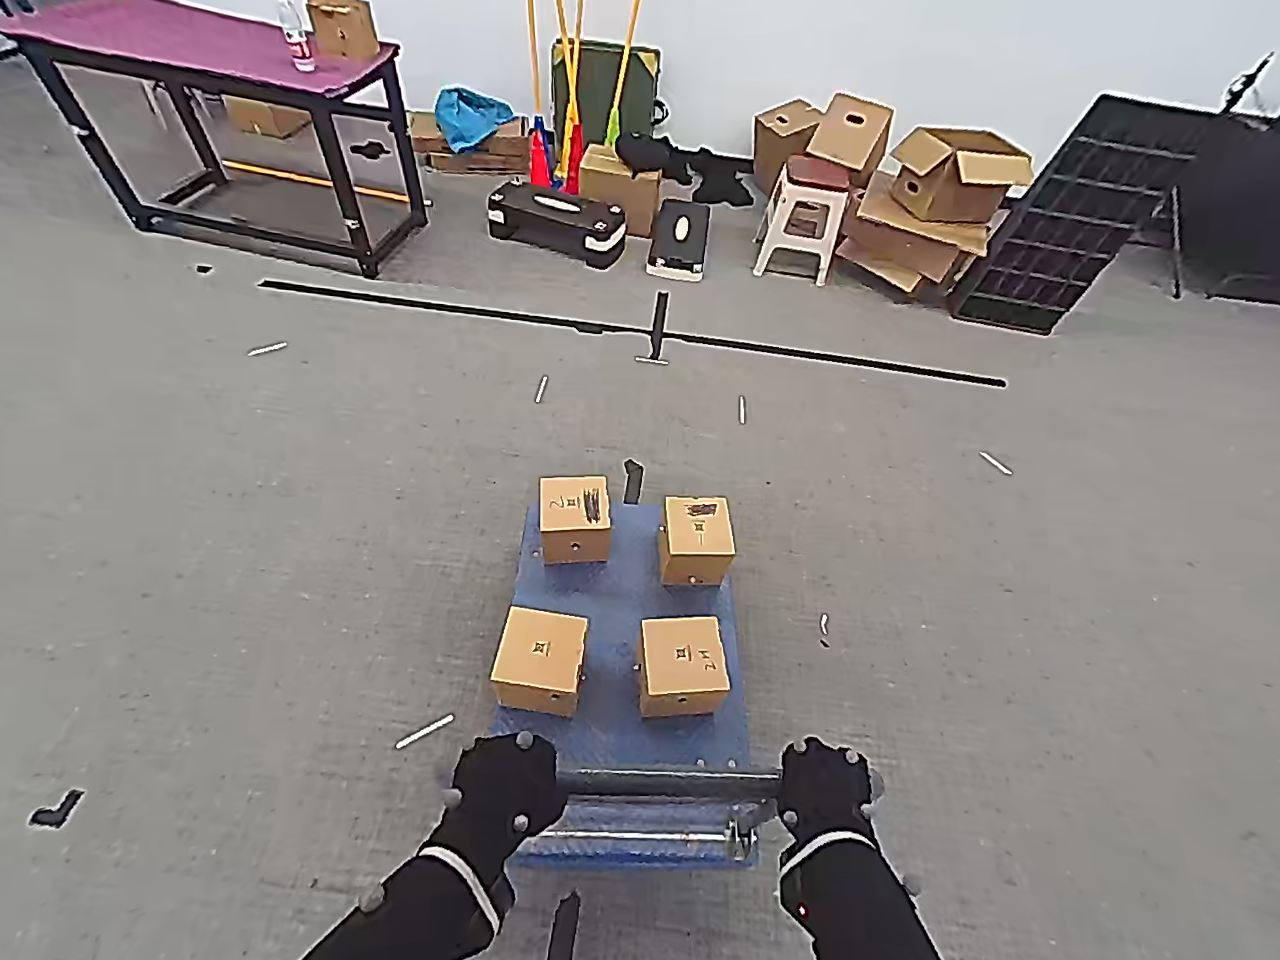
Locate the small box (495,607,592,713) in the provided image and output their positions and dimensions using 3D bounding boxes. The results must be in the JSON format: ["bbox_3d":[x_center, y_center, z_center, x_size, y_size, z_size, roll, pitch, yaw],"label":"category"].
[{"bbox_3d":[-0.211,0.407,1.212,0.179,0.176,0.168,10,51,-1],"label":"small box"}]

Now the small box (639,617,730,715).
[{"bbox_3d":[0.092,0.427,1.235,0.179,0.176,0.168,0,52,-8],"label":"small box"}]

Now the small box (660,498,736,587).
[{"bbox_3d":[0.148,0.168,1.447,0.168,0.176,0.179,2,53,-6],"label":"small box"}]
